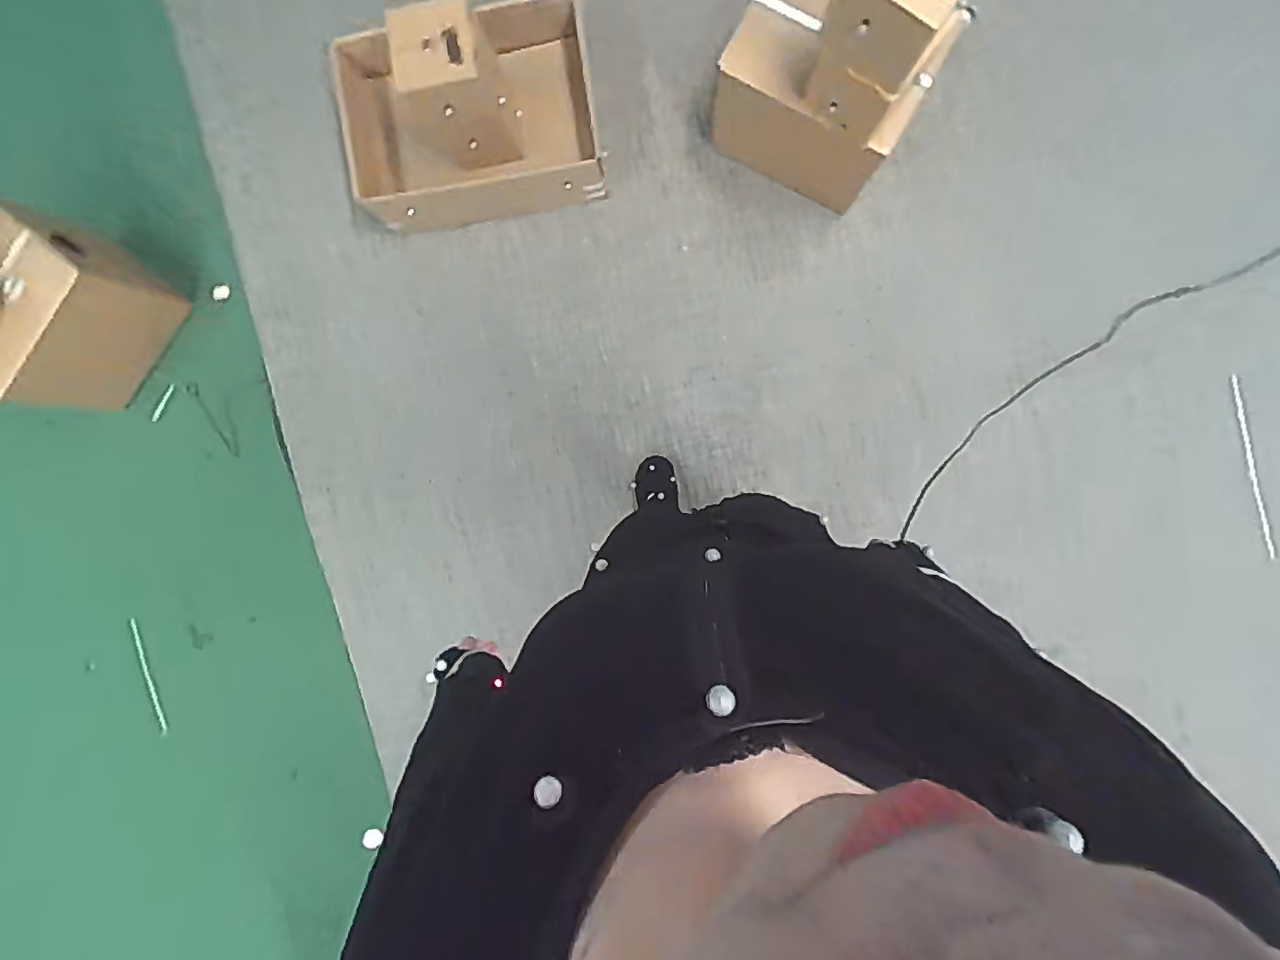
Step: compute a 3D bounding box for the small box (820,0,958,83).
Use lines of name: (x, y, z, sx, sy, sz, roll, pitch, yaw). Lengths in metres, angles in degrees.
small box: (0.413, -0.787, 0.857, 0.179, 0.176, 0.168, 34, 100, 2)

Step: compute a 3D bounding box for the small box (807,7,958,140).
small box: (0.441, -0.799, 1.020, 0.168, 0.176, 0.179, 38, 100, 0)

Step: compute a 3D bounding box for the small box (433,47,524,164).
small box: (-0.406, -0.915, 1.340, 0.179, 0.176, 0.168, -8, 95, 5)

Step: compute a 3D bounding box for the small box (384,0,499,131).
small box: (-0.420, -0.899, 1.177, 0.179, 0.176, 0.168, -7, 94, 7)
